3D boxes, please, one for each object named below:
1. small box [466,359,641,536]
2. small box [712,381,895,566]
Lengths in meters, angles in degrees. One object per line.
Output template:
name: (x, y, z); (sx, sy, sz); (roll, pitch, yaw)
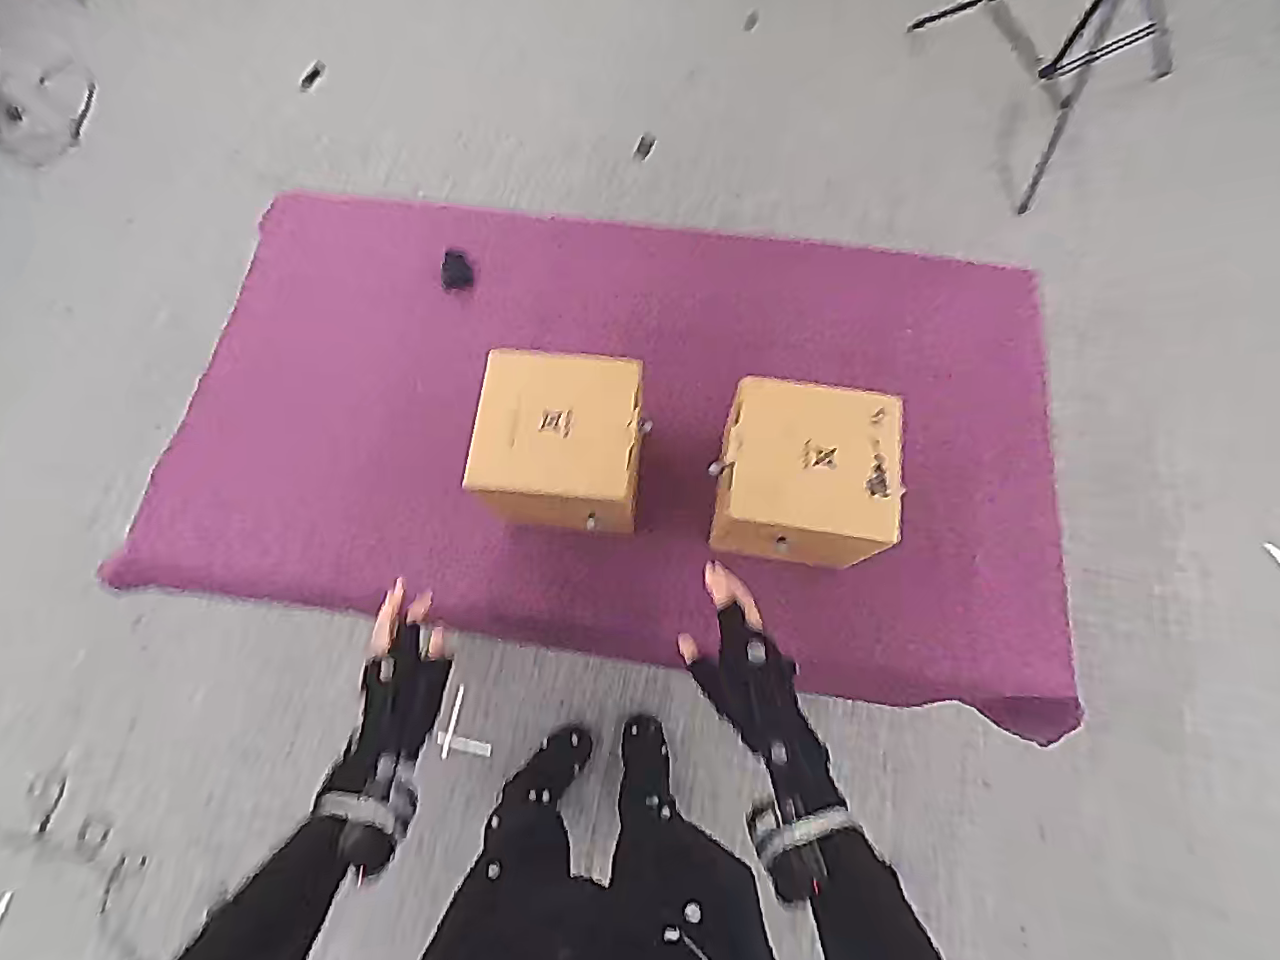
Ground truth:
small box: (-0.090, -0.031, 0.670); (0.179, 0.176, 0.168); (3, 70, 3)
small box: (0.186, 0.001, 0.653); (0.179, 0.176, 0.168); (8, 71, 5)
